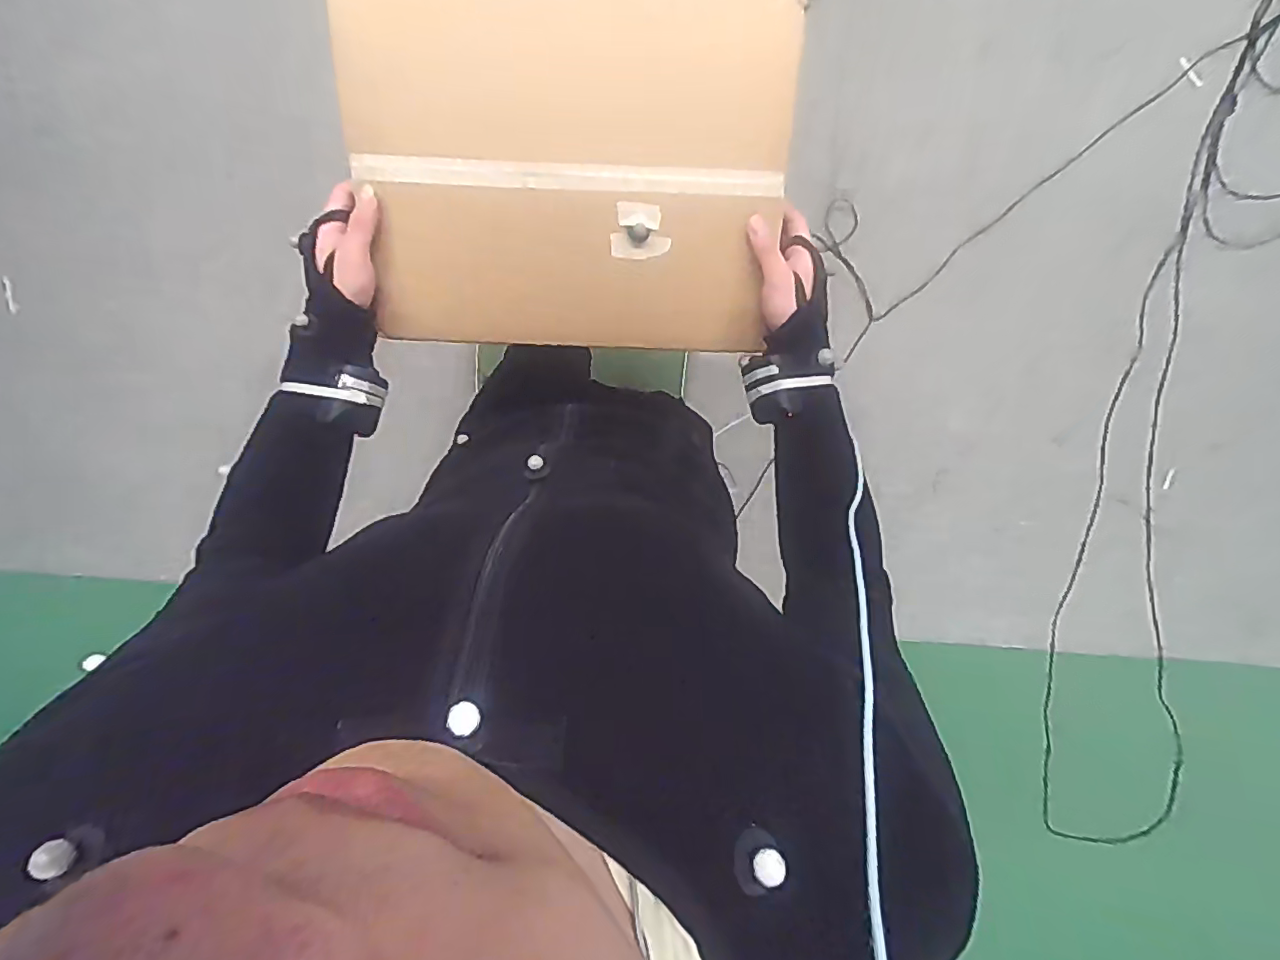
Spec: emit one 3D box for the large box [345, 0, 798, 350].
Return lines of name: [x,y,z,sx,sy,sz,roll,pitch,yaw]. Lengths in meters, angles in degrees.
large box: [-0.067,-0.339,0.662,0.408,0.320,0.320,1,112,-2]
